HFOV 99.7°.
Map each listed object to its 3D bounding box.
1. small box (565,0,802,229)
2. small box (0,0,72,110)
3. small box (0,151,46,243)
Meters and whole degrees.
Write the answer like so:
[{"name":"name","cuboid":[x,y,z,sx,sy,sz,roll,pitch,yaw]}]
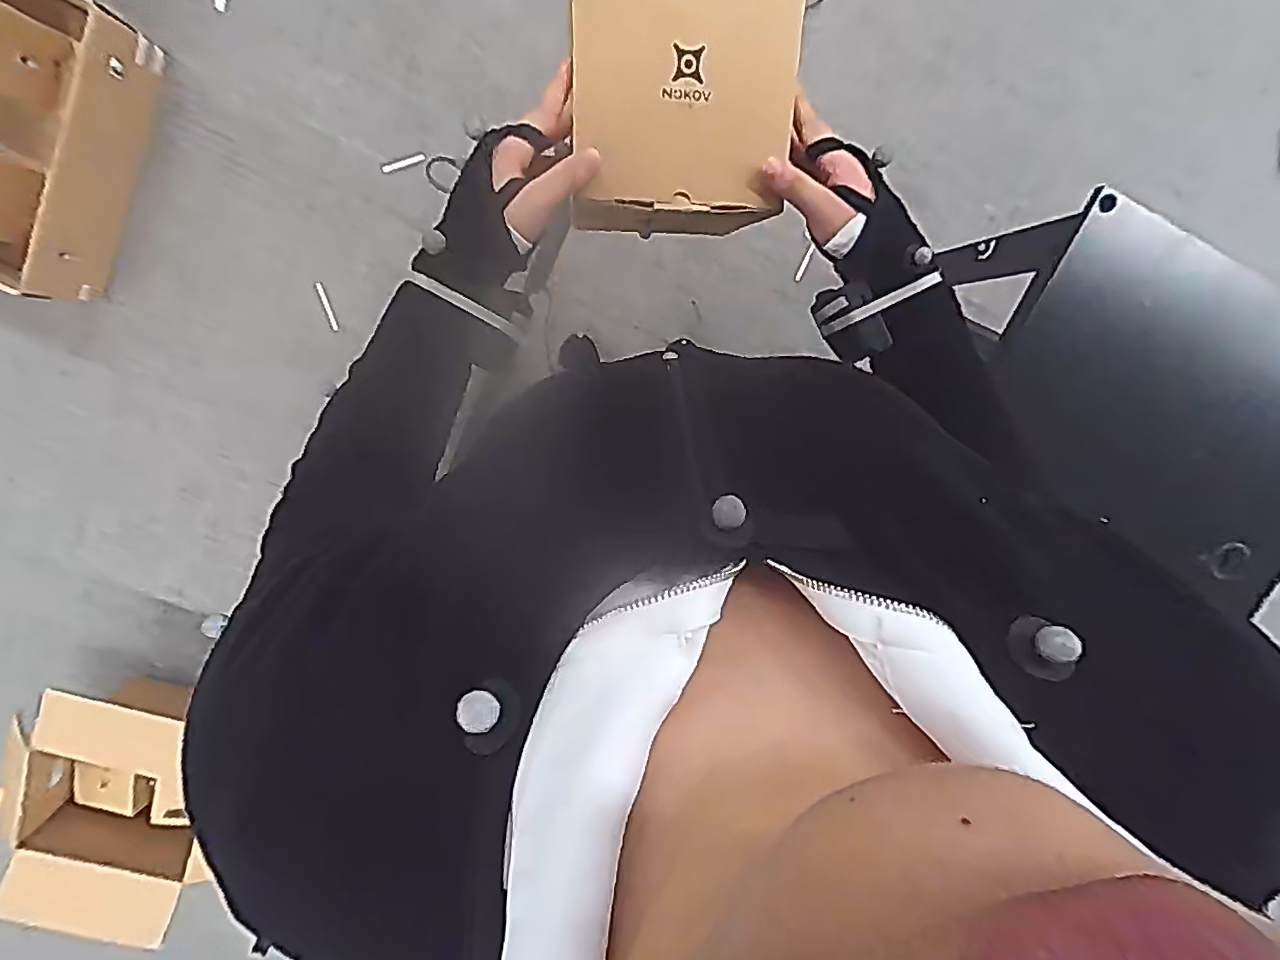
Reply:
[{"name":"small box","cuboid":[0.021,-0.321,0.459,0.168,0.176,0.179,-1,110,-7]},{"name":"small box","cuboid":[-1.328,-0.892,1.093,0.179,0.176,0.168,27,102,-11]},{"name":"small box","cuboid":[-1.443,-0.632,1.150,0.168,0.176,0.179,24,99,-11]}]
